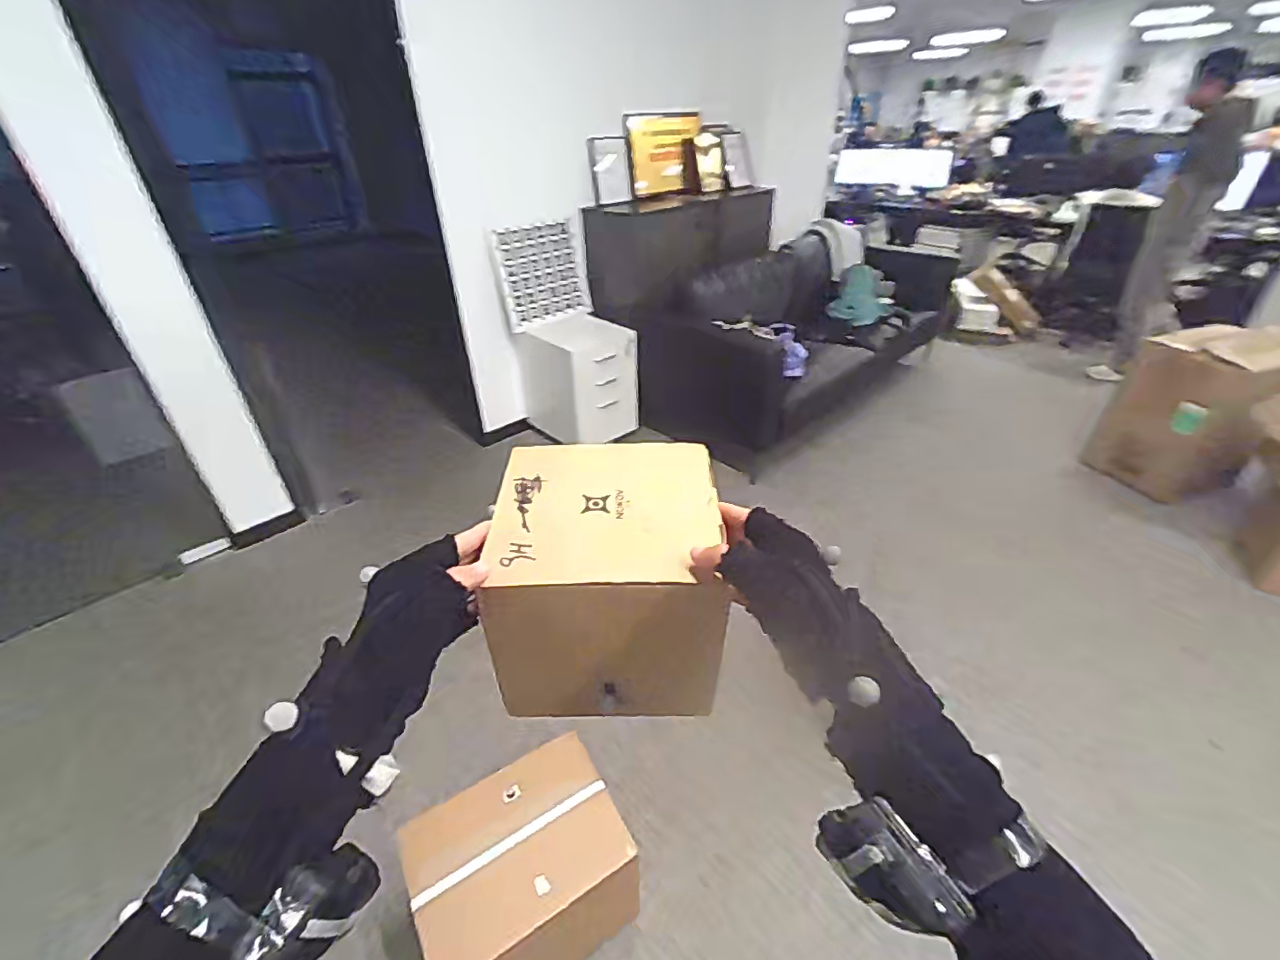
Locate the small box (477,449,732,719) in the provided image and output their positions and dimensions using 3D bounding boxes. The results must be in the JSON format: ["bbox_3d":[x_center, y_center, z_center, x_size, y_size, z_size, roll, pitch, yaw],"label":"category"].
[{"bbox_3d":[-0.026,0.090,0.476,0.179,0.176,0.168,1,36,-1],"label":"small box"}]
